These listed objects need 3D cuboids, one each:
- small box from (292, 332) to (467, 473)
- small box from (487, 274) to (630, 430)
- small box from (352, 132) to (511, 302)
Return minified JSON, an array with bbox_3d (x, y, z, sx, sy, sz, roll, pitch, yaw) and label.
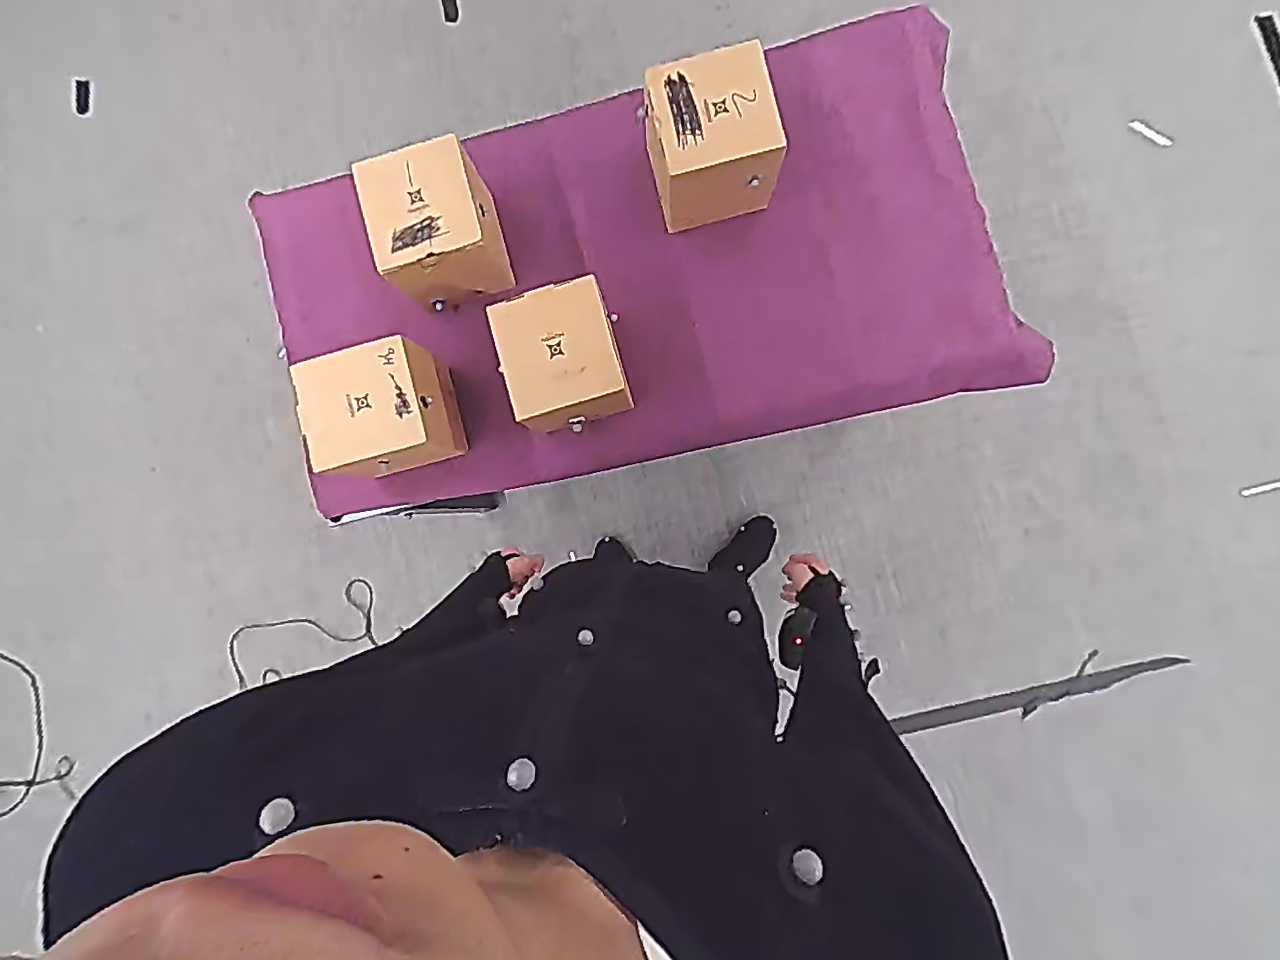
[{"bbox_3d":[-0.404,-0.112,0.863,0.179,0.176,0.168,-15,87,3],"label":"small box"},{"bbox_3d":[-0.119,-0.190,0.854,0.168,0.176,0.179,-16,88,3],"label":"small box"},{"bbox_3d":[-0.324,-0.406,0.875,0.168,0.176,0.179,-16,86,2],"label":"small box"}]
